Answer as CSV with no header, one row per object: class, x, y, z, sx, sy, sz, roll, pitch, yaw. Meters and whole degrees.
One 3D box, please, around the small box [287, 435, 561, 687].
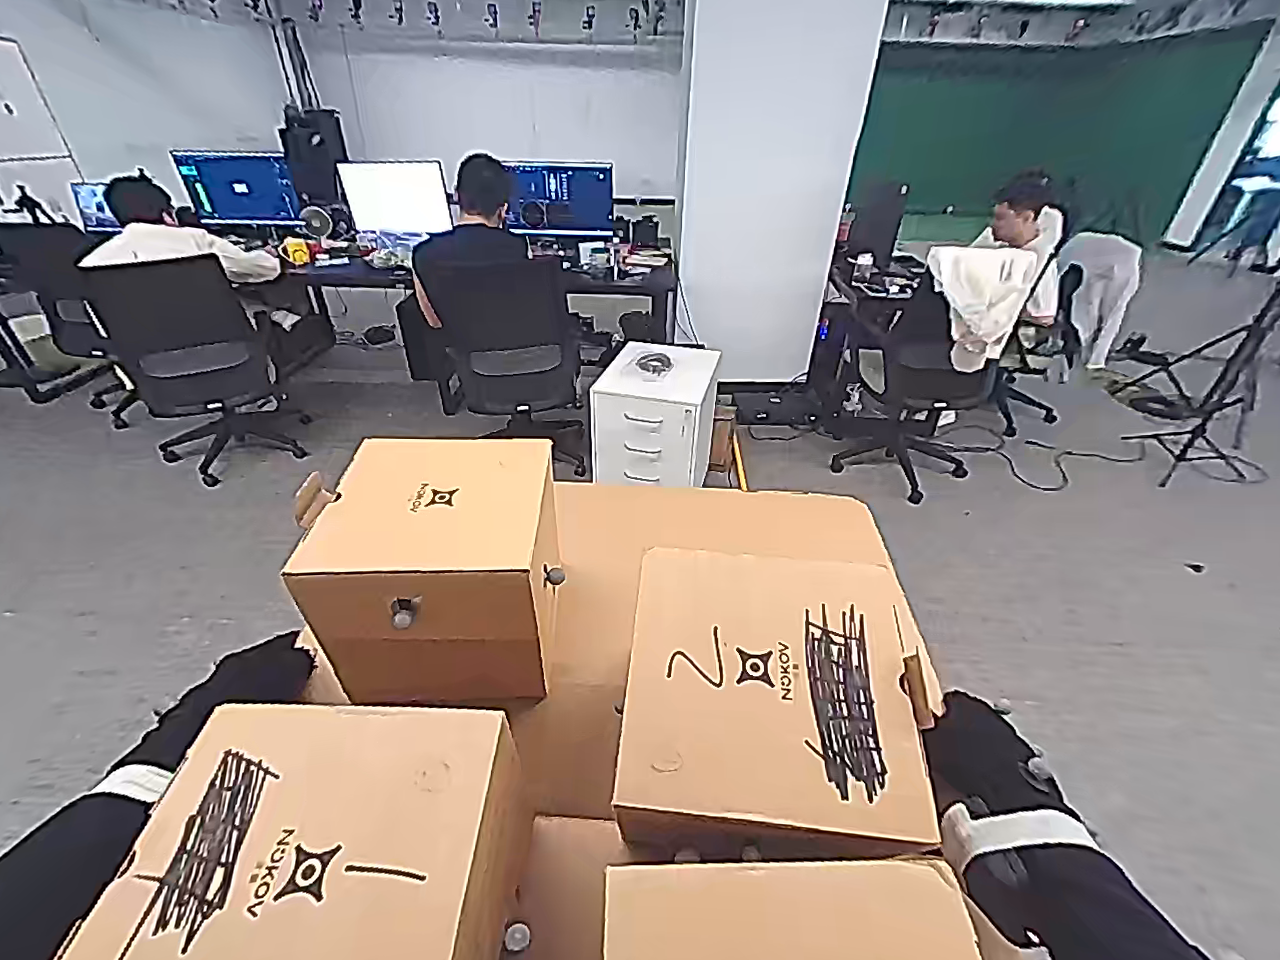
small box,-0.169,0.074,0.499,0.179,0.176,0.168,-1,38,-2
